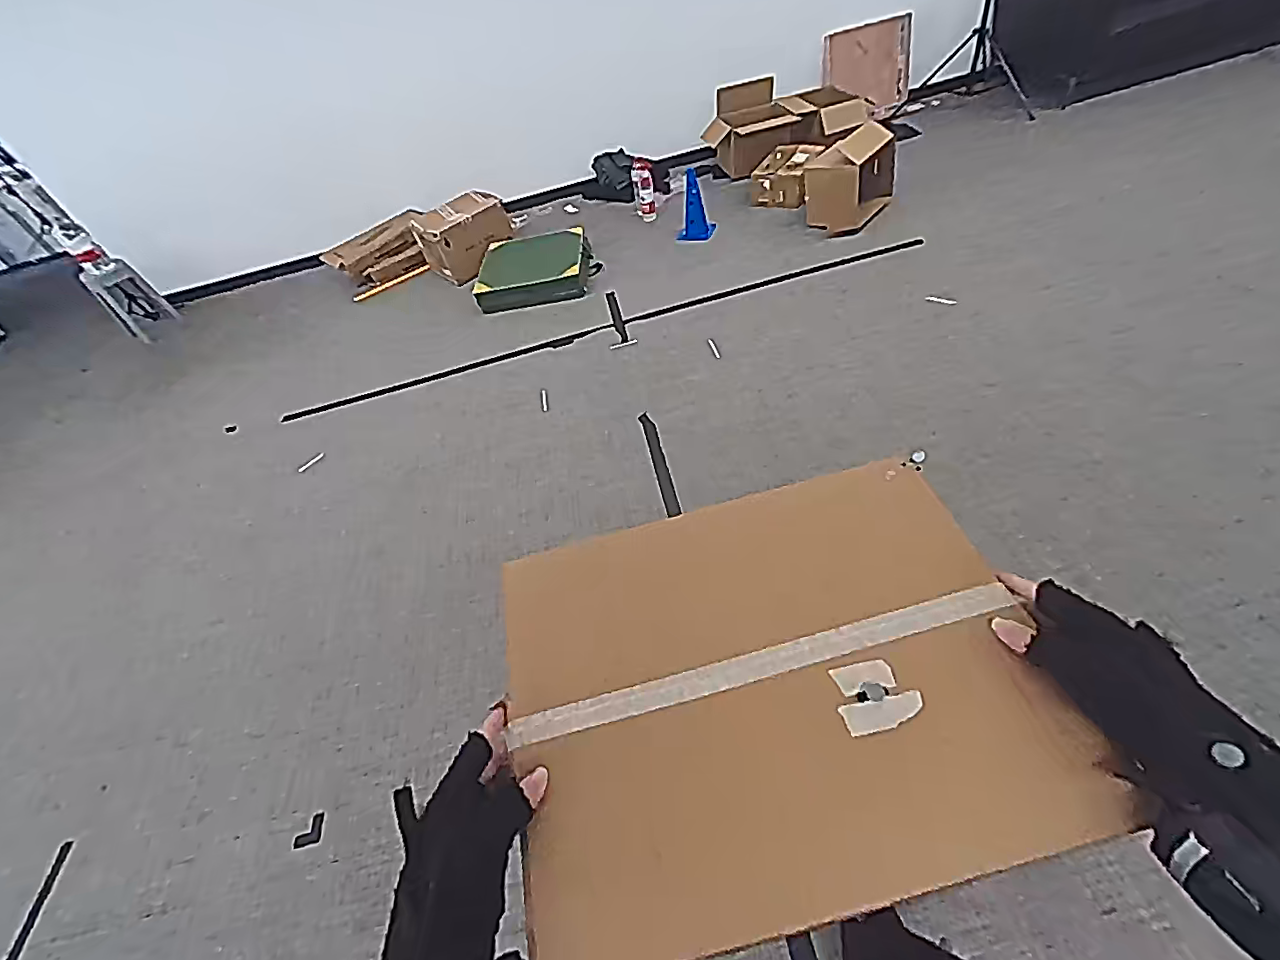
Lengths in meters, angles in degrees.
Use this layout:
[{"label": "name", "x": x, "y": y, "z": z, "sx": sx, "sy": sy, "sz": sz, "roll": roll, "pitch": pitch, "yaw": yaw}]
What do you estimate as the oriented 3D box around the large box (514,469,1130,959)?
[{"label": "large box", "x": 0.121, "y": 0.246, "z": 0.555, "sx": 0.408, "sy": 0.320, "sz": 0.320, "roll": -15, "pitch": 51, "yaw": -1}]
